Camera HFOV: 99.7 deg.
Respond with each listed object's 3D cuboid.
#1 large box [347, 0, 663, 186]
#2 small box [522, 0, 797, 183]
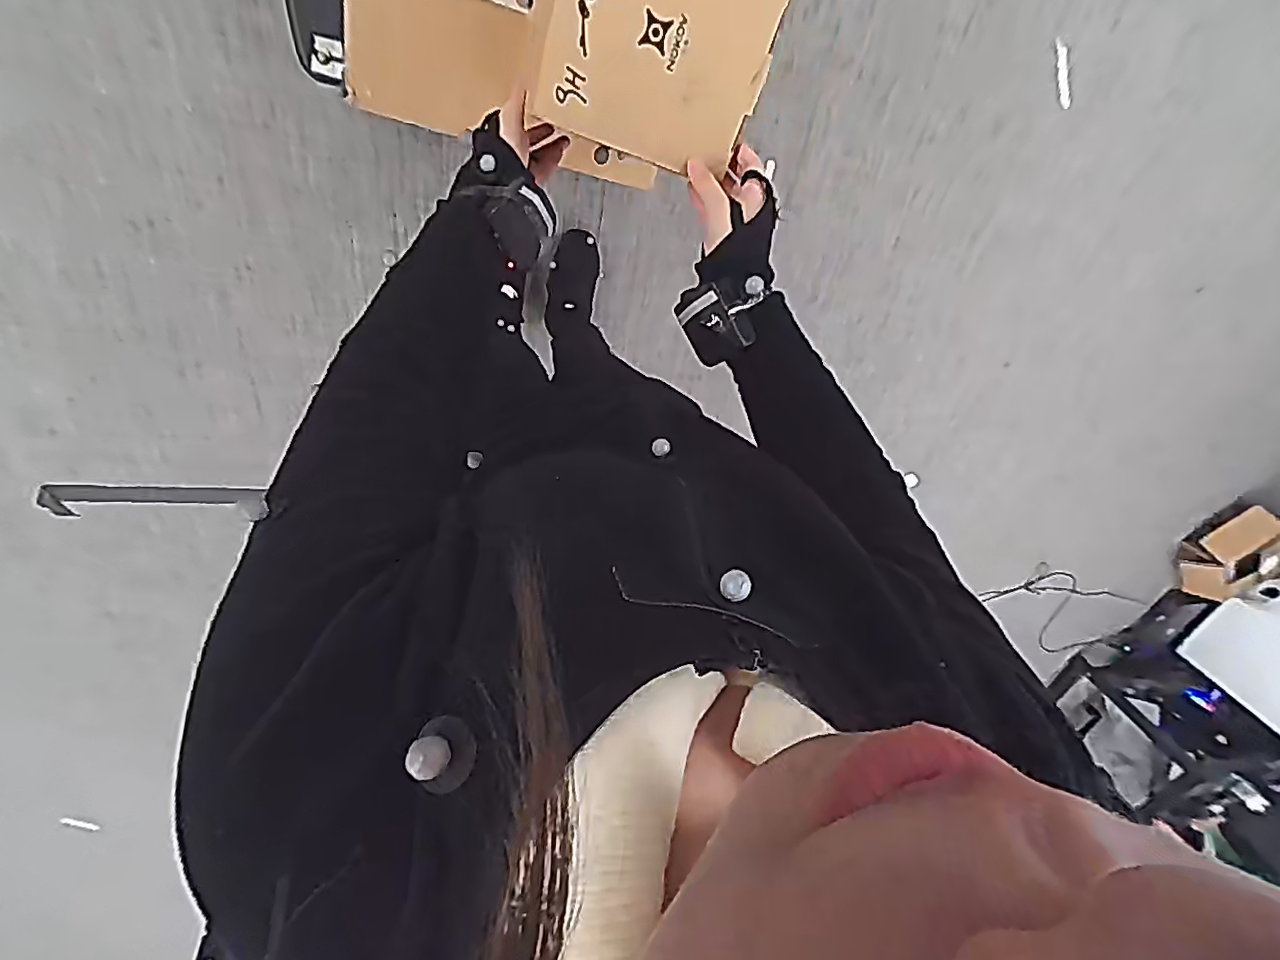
[{"bbox_3d":[-0.156,-0.646,0.755,0.408,0.320,0.320,6,122,-19],"label":"large box"},{"bbox_3d":[0.005,-0.387,0.471,0.179,0.176,0.168,9,121,-23],"label":"small box"}]
